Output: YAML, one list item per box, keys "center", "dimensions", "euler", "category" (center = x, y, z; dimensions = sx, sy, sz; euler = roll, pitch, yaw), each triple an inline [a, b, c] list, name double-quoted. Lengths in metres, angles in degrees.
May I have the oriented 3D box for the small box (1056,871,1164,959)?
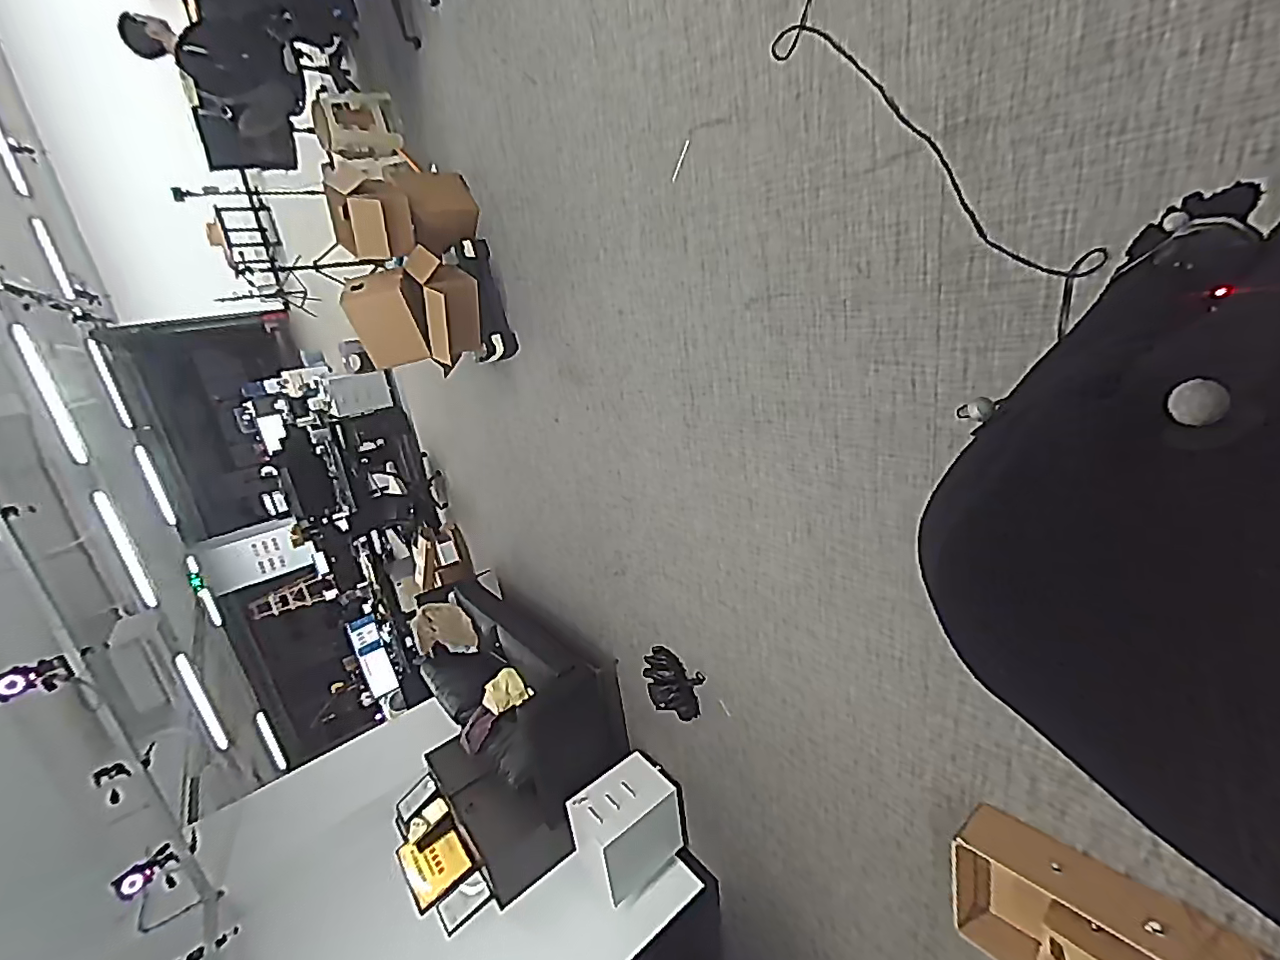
- center: [1.239, 1.188, 1.428]
  dimensions: [0.179, 0.176, 0.168]
  euler: [12, 120, 51]
  category: "small box"
